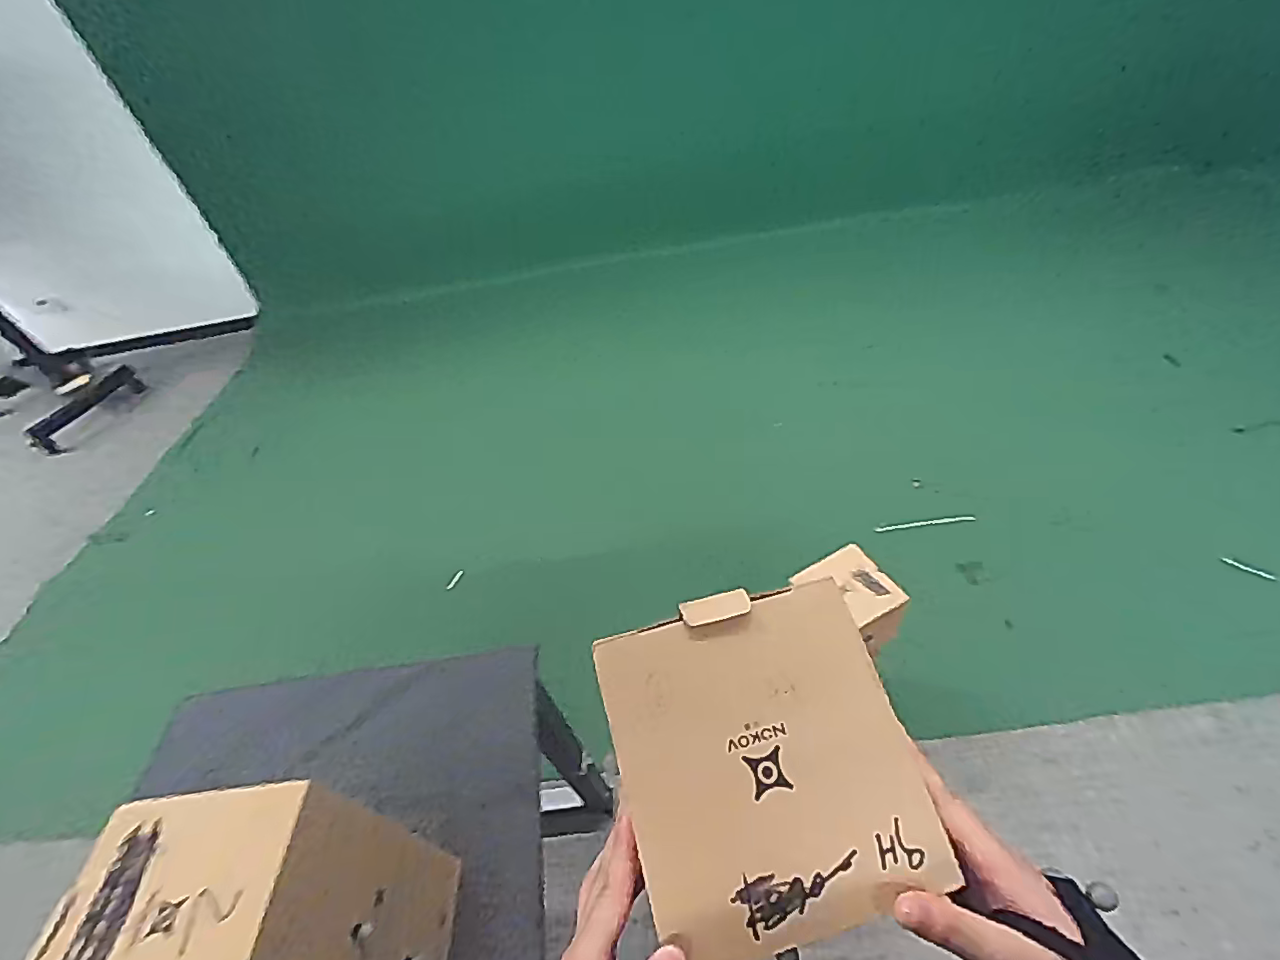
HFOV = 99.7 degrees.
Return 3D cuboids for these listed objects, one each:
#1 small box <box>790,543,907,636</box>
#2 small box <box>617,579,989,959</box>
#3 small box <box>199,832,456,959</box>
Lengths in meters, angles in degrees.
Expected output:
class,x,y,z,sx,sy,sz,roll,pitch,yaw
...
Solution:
class,x,y,z,sx,sy,sz,roll,pitch,yaw
small box,0.436,0.274,1.173,0.179,0.176,0.168,-25,48,-12
small box,0.081,0.189,0.376,0.168,0.176,0.179,-13,67,-6
small box,-0.311,0.481,0.555,0.179,0.176,0.168,-10,45,4
